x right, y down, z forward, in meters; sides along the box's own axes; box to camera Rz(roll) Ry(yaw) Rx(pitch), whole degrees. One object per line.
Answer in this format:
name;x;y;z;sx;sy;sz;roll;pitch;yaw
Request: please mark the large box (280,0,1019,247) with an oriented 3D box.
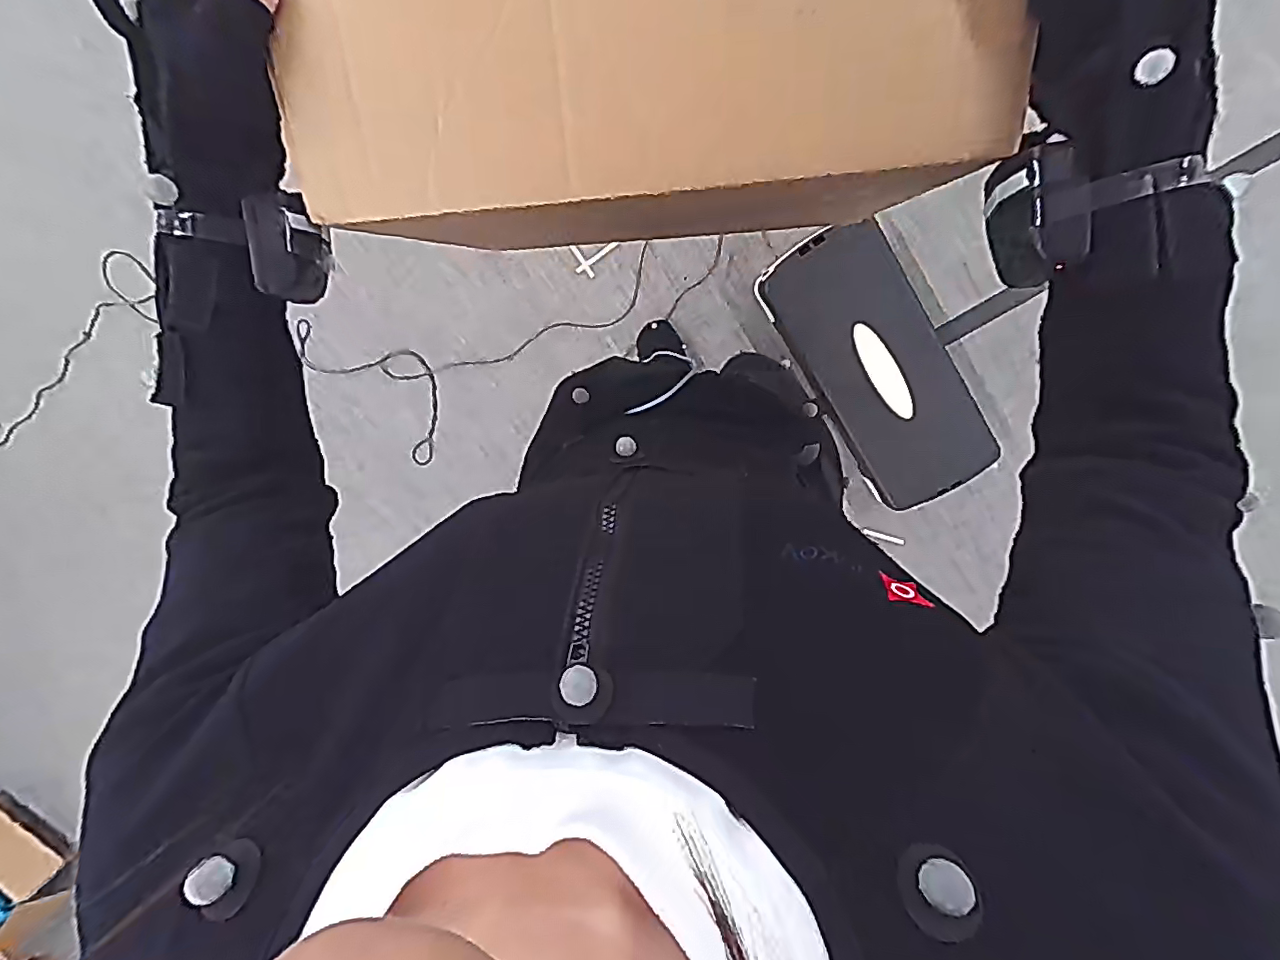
large box;0.003;-0.371;0.408;0.408;0.320;0.320;-2;110;7
